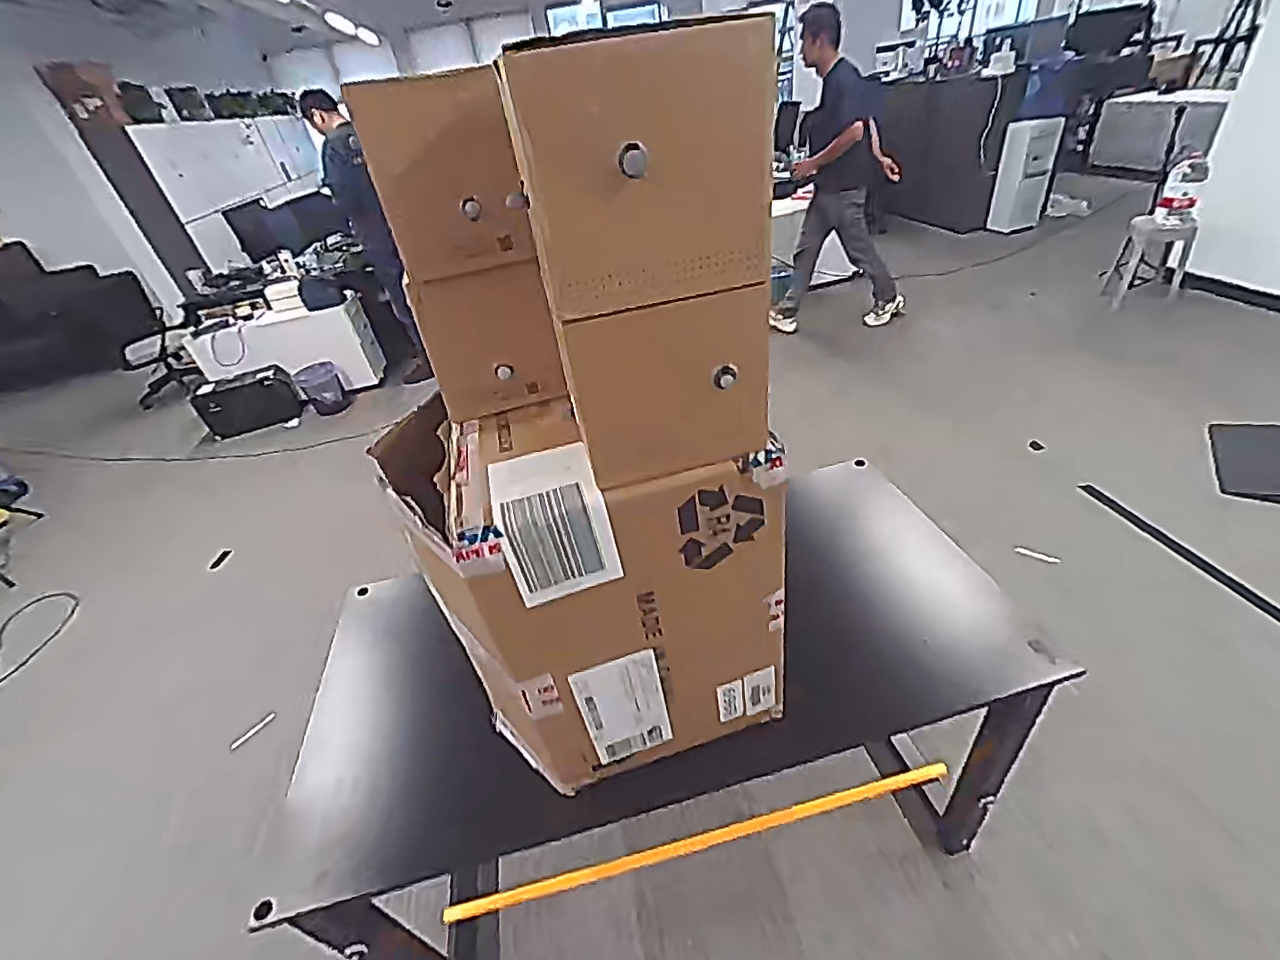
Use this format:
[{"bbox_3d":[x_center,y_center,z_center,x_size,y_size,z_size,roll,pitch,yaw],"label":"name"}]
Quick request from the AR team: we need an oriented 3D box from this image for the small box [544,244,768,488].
[{"bbox_3d":[0.014,-0.117,0.543,0.179,0.176,0.168,-15,36,-7],"label":"small box"}]

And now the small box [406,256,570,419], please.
[{"bbox_3d":[-0.182,-0.199,0.693,0.168,0.176,0.179,-16,36,-10],"label":"small box"}]

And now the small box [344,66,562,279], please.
[{"bbox_3d":[-0.195,-0.331,0.593,0.168,0.176,0.179,-18,35,-11],"label":"small box"}]
